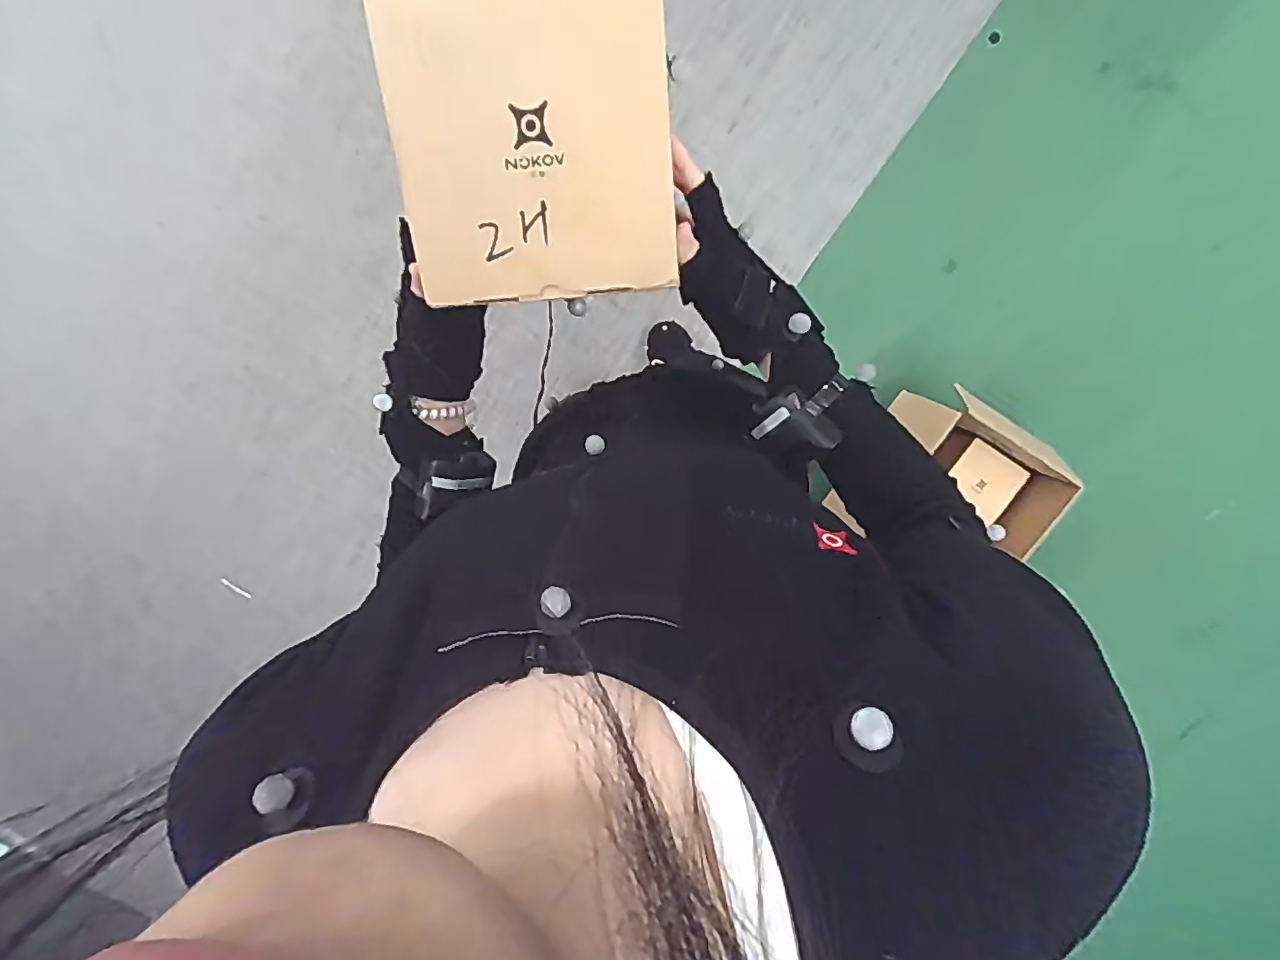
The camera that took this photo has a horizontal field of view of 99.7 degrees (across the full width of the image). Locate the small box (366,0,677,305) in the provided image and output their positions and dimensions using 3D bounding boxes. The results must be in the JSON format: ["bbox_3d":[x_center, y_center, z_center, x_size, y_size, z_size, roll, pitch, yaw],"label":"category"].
[{"bbox_3d":[-0.063,-0.224,0.392,0.168,0.176,0.179,-4,110,3],"label":"small box"}]
